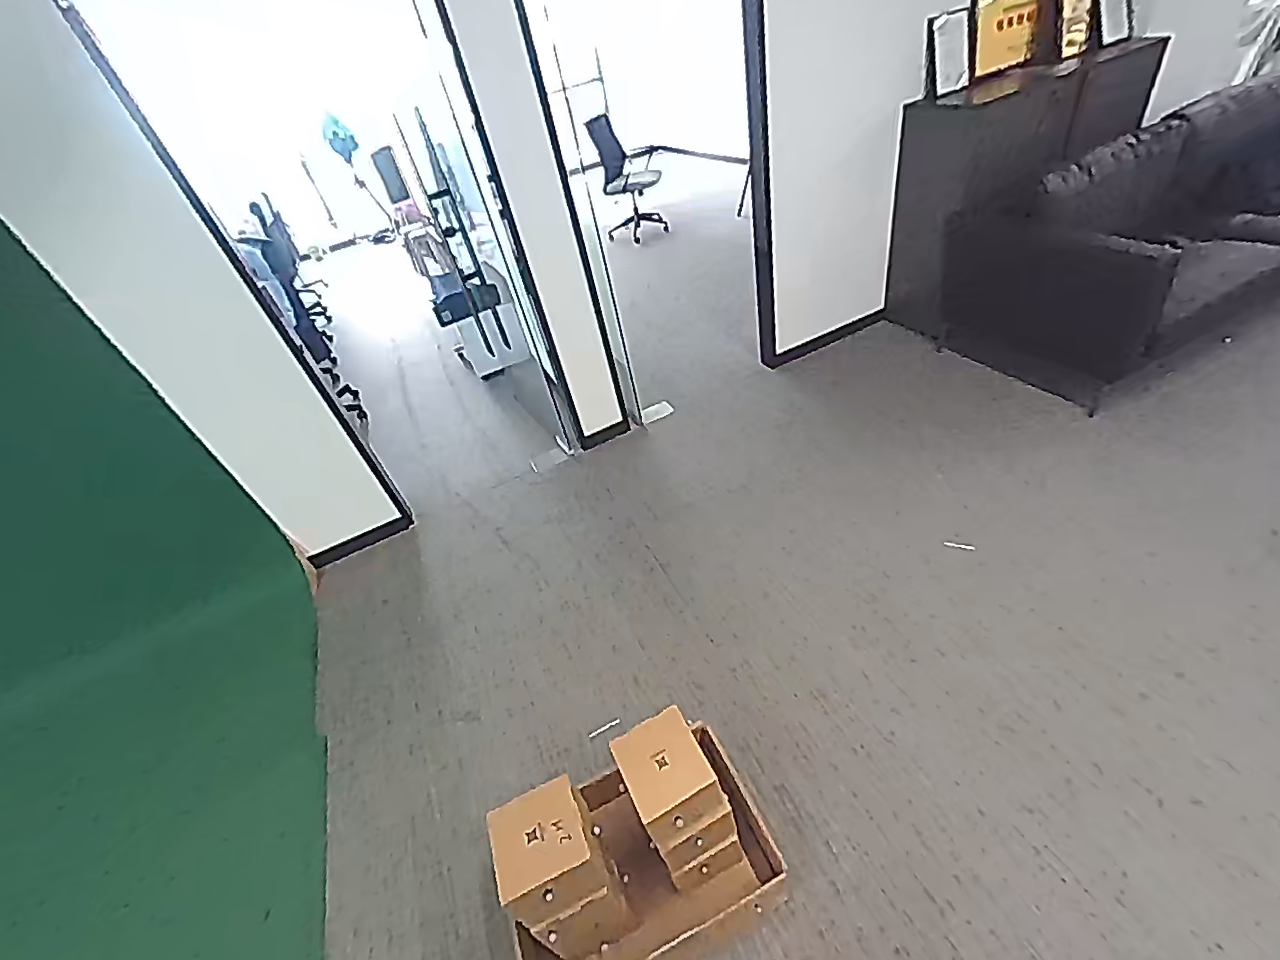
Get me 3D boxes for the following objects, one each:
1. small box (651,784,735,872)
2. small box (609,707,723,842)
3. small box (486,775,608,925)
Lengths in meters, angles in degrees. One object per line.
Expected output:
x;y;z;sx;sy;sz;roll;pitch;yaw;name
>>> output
0.100;0.748;1.230;0.179;0.176;0.168;-25;42;-12;small box
0.058;0.623;1.135;0.168;0.176;0.179;-26;42;-12;small box
-0.182;0.733;1.068;0.179;0.176;0.168;-22;40;-10;small box
